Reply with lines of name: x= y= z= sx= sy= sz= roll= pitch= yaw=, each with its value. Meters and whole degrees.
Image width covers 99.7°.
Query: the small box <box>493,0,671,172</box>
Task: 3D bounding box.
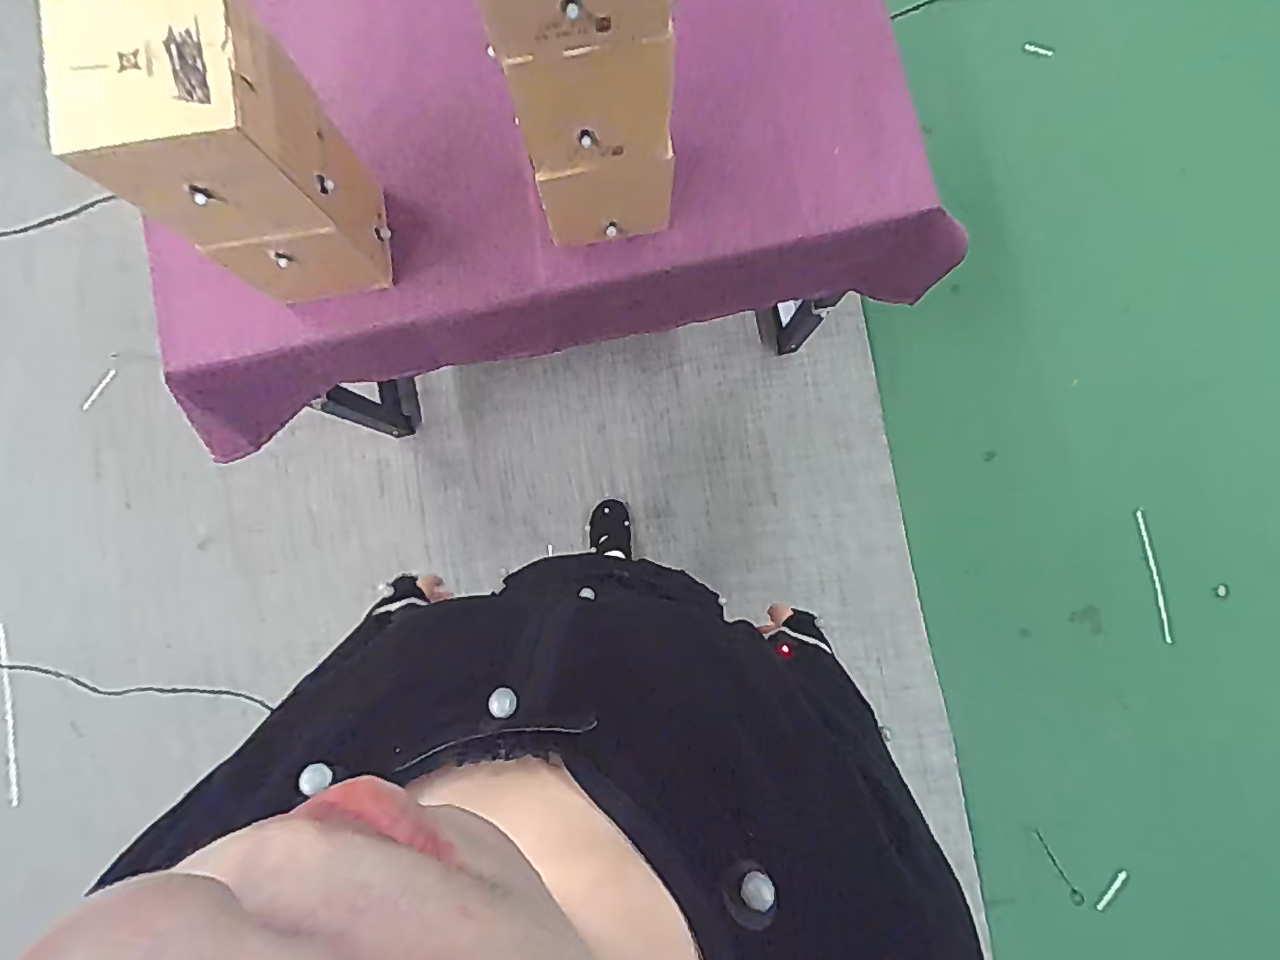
small box: x=-0.064 y=-0.481 z=0.594 sx=0.168 sy=0.176 sz=0.179 roll=-9 pitch=86 yaw=0

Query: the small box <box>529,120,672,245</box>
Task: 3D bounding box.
small box: x=-0.060 y=-0.456 z=0.756 sx=0.179 sy=0.176 sz=0.168 roll=-10 pitch=85 yaw=-1

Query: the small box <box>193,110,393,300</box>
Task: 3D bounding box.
small box: x=-0.472 y=-0.366 z=0.748 sx=0.179 sy=0.176 sz=0.168 roll=-9 pitch=86 yaw=-1

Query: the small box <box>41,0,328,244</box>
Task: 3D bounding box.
small box: x=-0.466 y=-0.383 z=0.586 sx=0.179 sy=0.176 sz=0.168 roll=-10 pitch=86 yaw=0
